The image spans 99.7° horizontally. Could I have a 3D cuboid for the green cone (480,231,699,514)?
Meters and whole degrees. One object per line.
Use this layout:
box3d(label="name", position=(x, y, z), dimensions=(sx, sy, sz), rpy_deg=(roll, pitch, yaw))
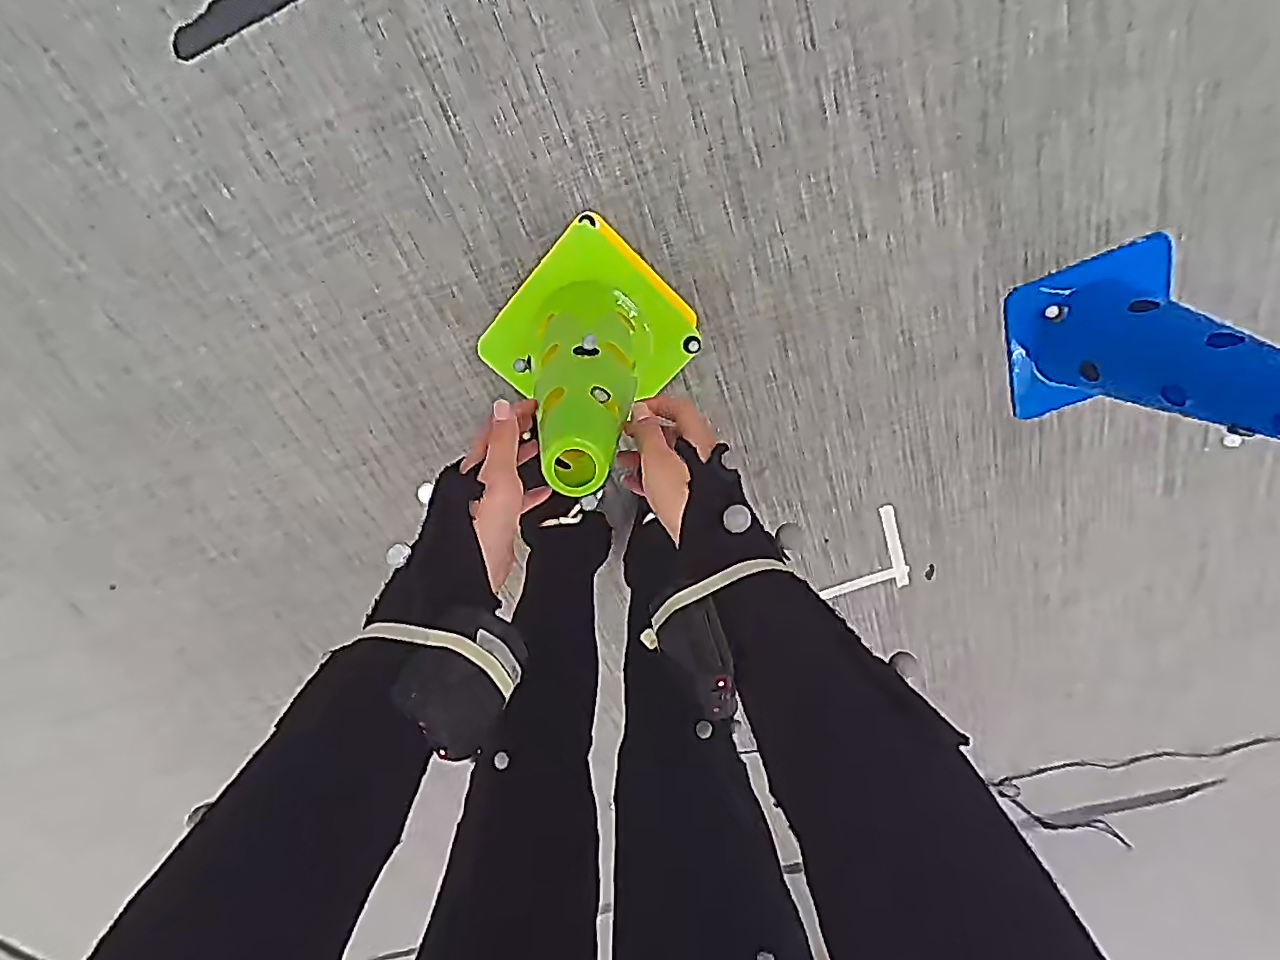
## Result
box3d(label="green cone", position=(-0.051, -0.078, 0.482), dimensions=(0.200, 0.368, 0.202), rpy_deg=(39, 108, -19))
